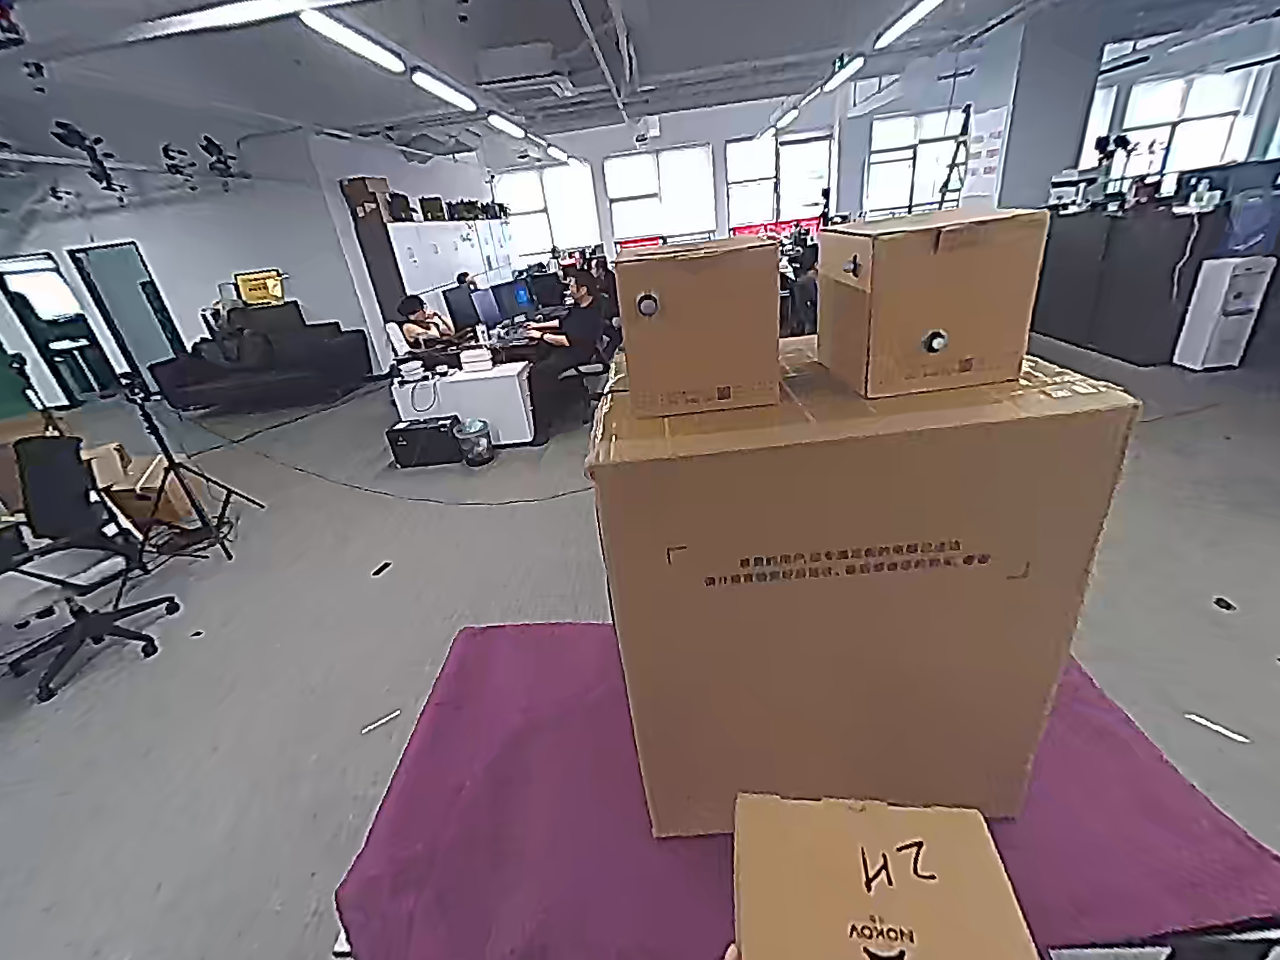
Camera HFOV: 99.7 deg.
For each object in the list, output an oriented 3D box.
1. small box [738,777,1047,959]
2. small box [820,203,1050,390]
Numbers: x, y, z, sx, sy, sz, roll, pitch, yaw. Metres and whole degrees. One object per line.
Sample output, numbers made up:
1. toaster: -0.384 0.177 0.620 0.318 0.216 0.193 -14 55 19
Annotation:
1. small box: 0.149 0.329 0.351 0.168 0.176 0.179 0 32 8
2. small box: 0.312 -0.212 0.619 0.168 0.176 0.179 -8 27 2
